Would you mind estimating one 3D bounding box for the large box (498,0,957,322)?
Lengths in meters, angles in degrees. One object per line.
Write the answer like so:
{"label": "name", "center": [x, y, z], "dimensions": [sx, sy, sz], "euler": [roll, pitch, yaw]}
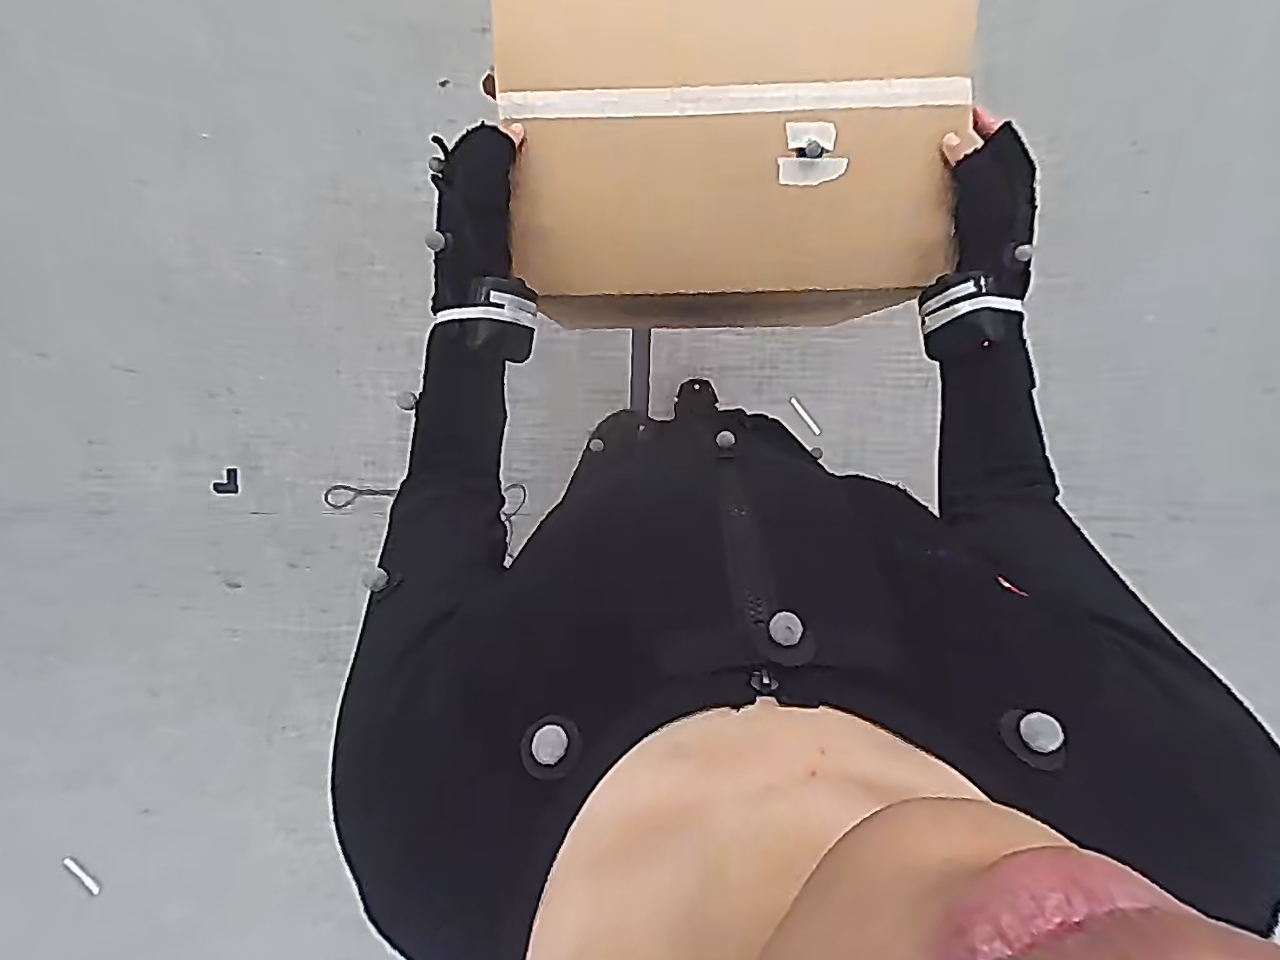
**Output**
{"label": "large box", "center": [0.077, -0.367, 0.628], "dimensions": [0.408, 0.320, 0.320], "euler": [-2, 101, 0]}
